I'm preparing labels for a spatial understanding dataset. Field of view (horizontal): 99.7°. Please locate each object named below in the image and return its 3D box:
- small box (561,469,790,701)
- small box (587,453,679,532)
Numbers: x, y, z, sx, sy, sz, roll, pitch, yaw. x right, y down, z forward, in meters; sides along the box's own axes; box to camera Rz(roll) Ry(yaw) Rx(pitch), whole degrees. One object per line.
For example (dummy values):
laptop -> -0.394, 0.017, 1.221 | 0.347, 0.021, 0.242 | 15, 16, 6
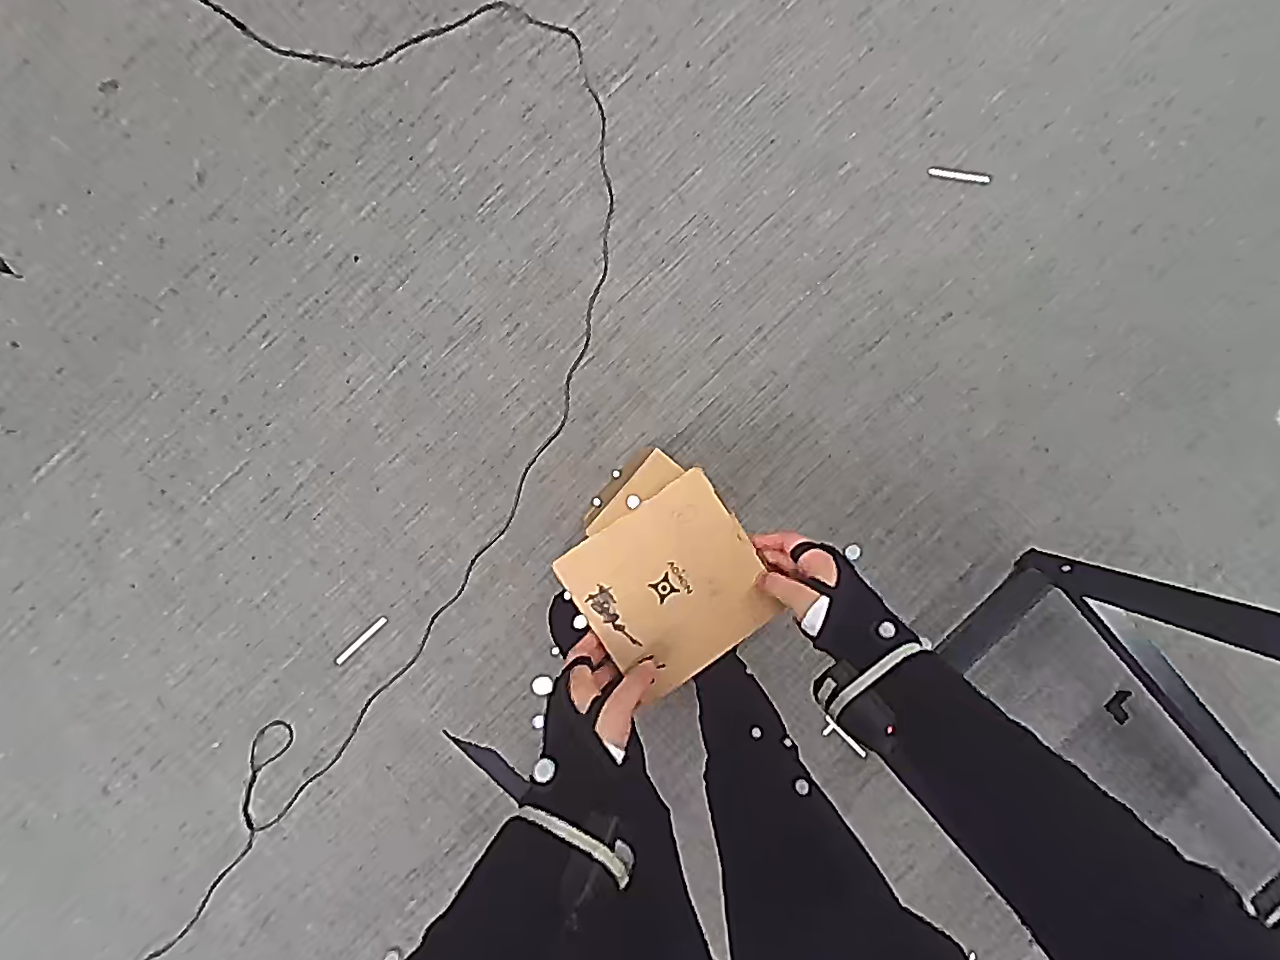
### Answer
small box -> 0.031, 0.107, 0.610 | 0.179, 0.176, 0.168 | -34, 86, -5
small box -> 0.010, 0.059, 1.083 | 0.168, 0.176, 0.179 | 43, 91, -6
